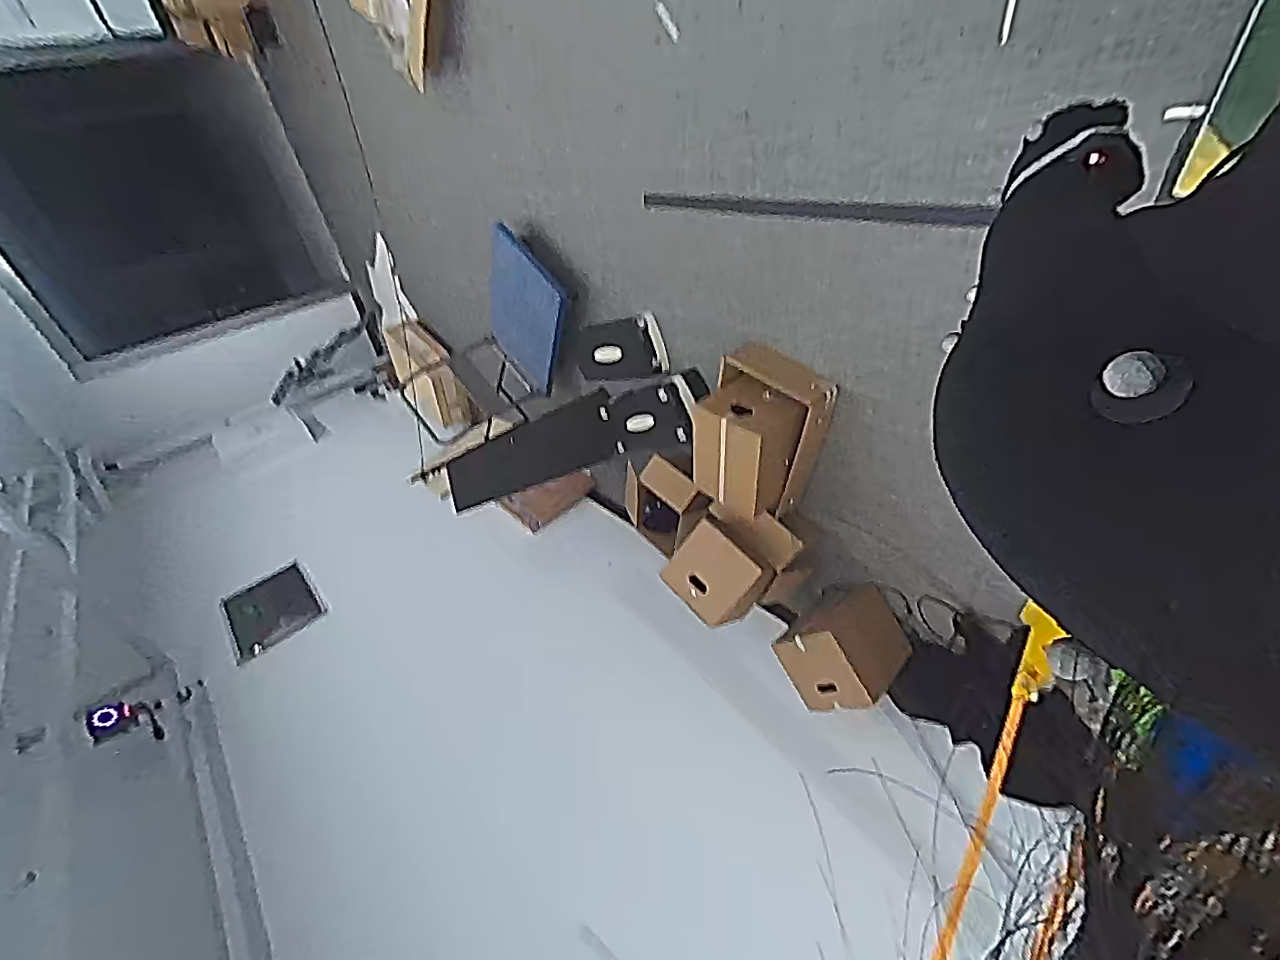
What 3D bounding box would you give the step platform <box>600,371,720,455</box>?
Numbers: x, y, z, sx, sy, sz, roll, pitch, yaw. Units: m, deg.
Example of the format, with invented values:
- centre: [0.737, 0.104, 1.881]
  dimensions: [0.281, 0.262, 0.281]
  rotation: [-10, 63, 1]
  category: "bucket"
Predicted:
- centre: [0.070, -0.307, 2.649]
  dimensions: [0.684, 0.204, 0.286]
  rotation: [-7, 113, 58]
  category: "step platform"
